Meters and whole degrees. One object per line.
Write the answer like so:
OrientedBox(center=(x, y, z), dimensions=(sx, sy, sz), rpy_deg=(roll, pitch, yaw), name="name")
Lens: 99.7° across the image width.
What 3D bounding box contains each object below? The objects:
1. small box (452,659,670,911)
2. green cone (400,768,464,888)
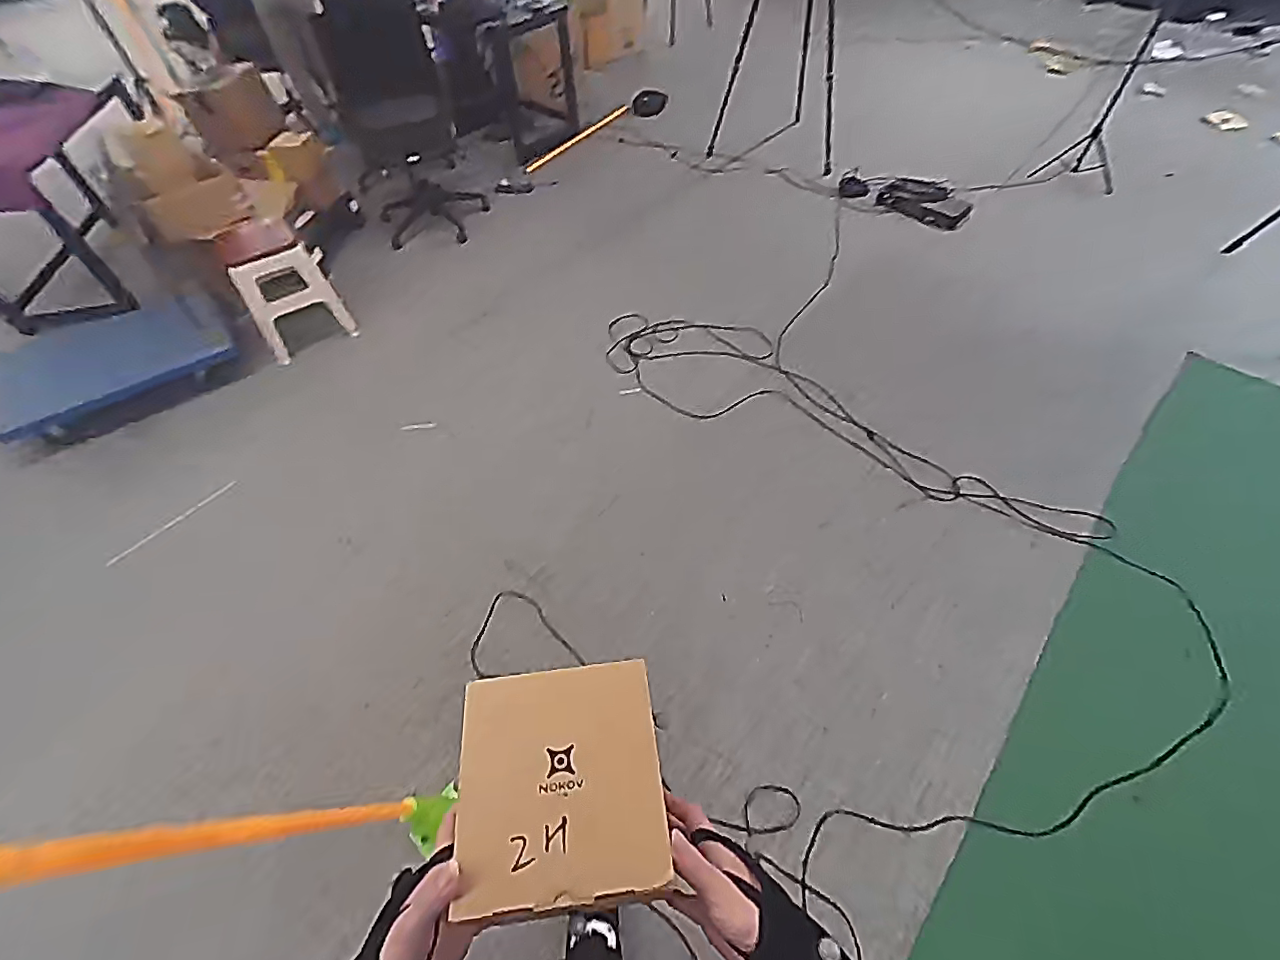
OrientedBox(center=(-0.067, 0.292, 0.516), dimensions=(0.168, 0.176, 0.179), rpy_deg=(-5, 52, -4), name="small box")
OrientedBox(center=(-0.462, 0.764, 1.225), dimensions=(0.200, 0.368, 0.202), rpy_deg=(36, 61, 25), name="green cone")
